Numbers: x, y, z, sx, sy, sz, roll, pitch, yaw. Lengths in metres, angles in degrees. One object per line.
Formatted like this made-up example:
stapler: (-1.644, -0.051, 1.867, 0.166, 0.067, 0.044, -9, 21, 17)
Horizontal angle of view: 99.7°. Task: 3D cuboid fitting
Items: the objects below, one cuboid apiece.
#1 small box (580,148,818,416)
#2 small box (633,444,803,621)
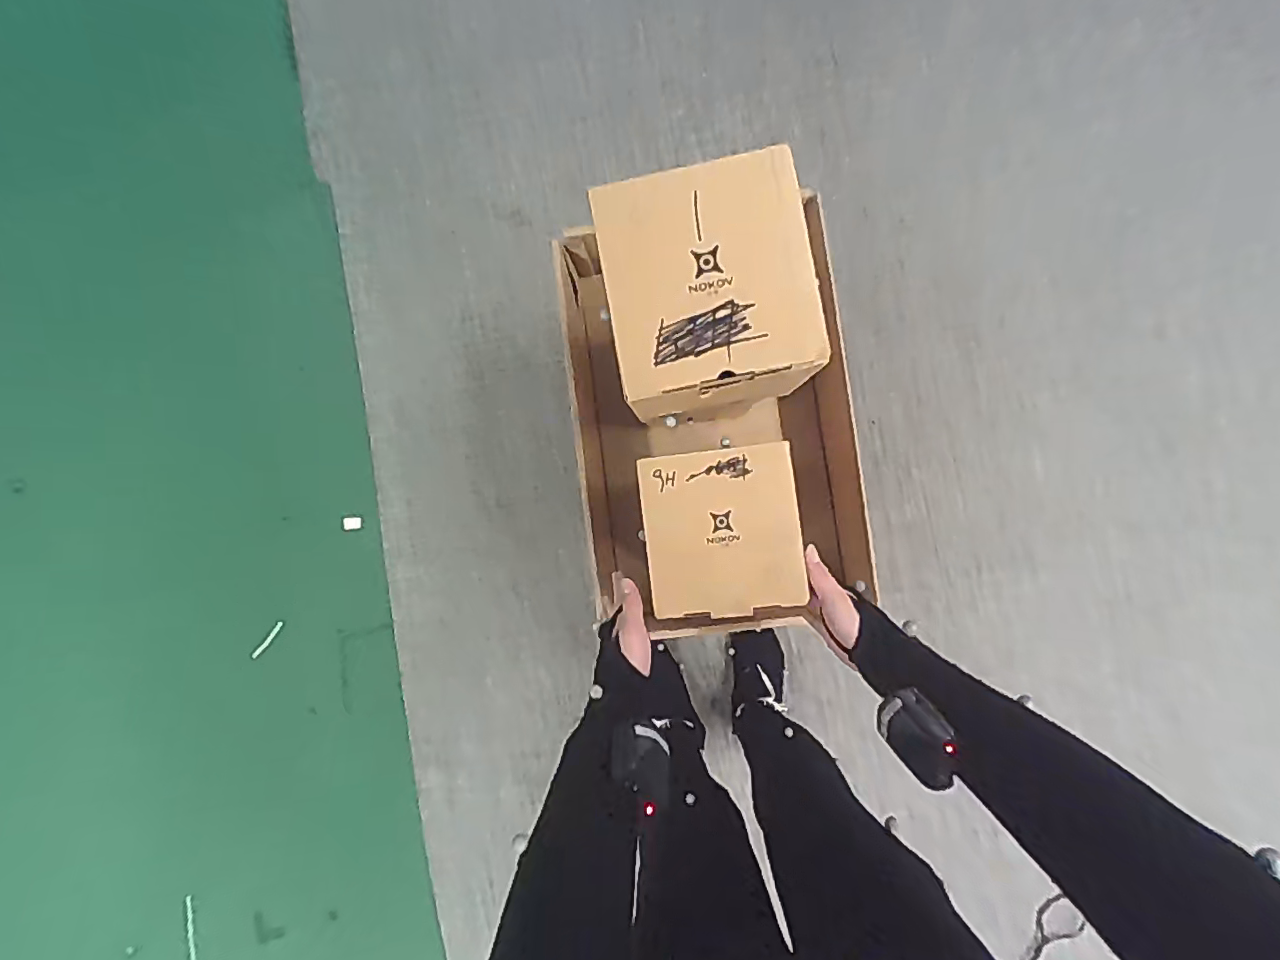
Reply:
small box: (0.053, -0.161, 0.508, 0.168, 0.176, 0.179, -11, 89, 5)
small box: (0.089, 0.059, 0.652, 0.168, 0.176, 0.179, -7, 86, 5)
